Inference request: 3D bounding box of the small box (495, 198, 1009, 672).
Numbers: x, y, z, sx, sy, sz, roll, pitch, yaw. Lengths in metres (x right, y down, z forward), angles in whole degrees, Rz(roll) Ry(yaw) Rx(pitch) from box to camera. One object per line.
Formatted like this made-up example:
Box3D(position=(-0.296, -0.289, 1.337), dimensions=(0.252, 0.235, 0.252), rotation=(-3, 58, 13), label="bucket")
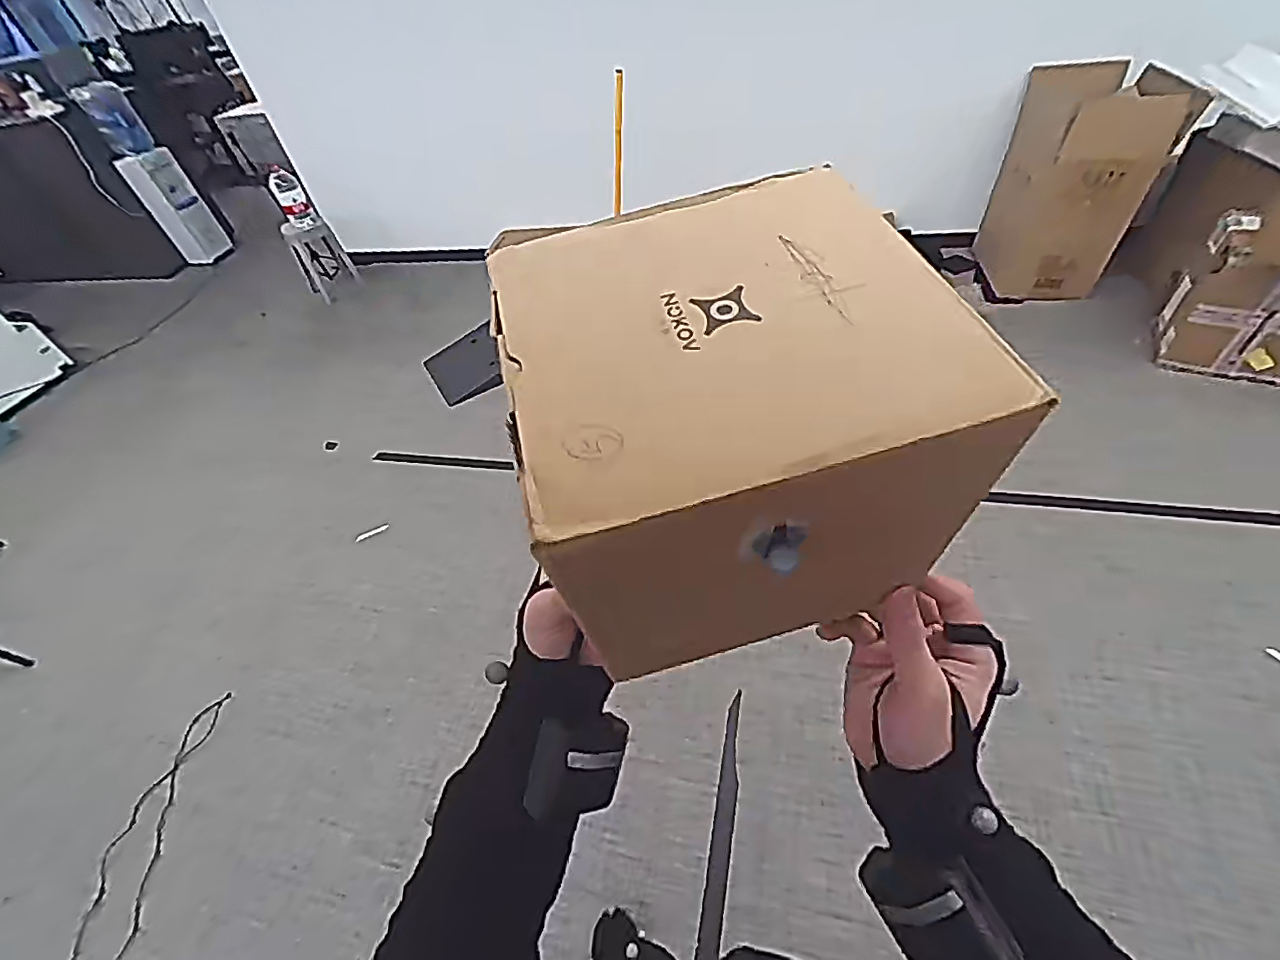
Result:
Box3D(position=(0.038, -0.014, 0.294), dimensions=(0.179, 0.176, 0.168), rotation=(-15, 55, -3), label="small box")
